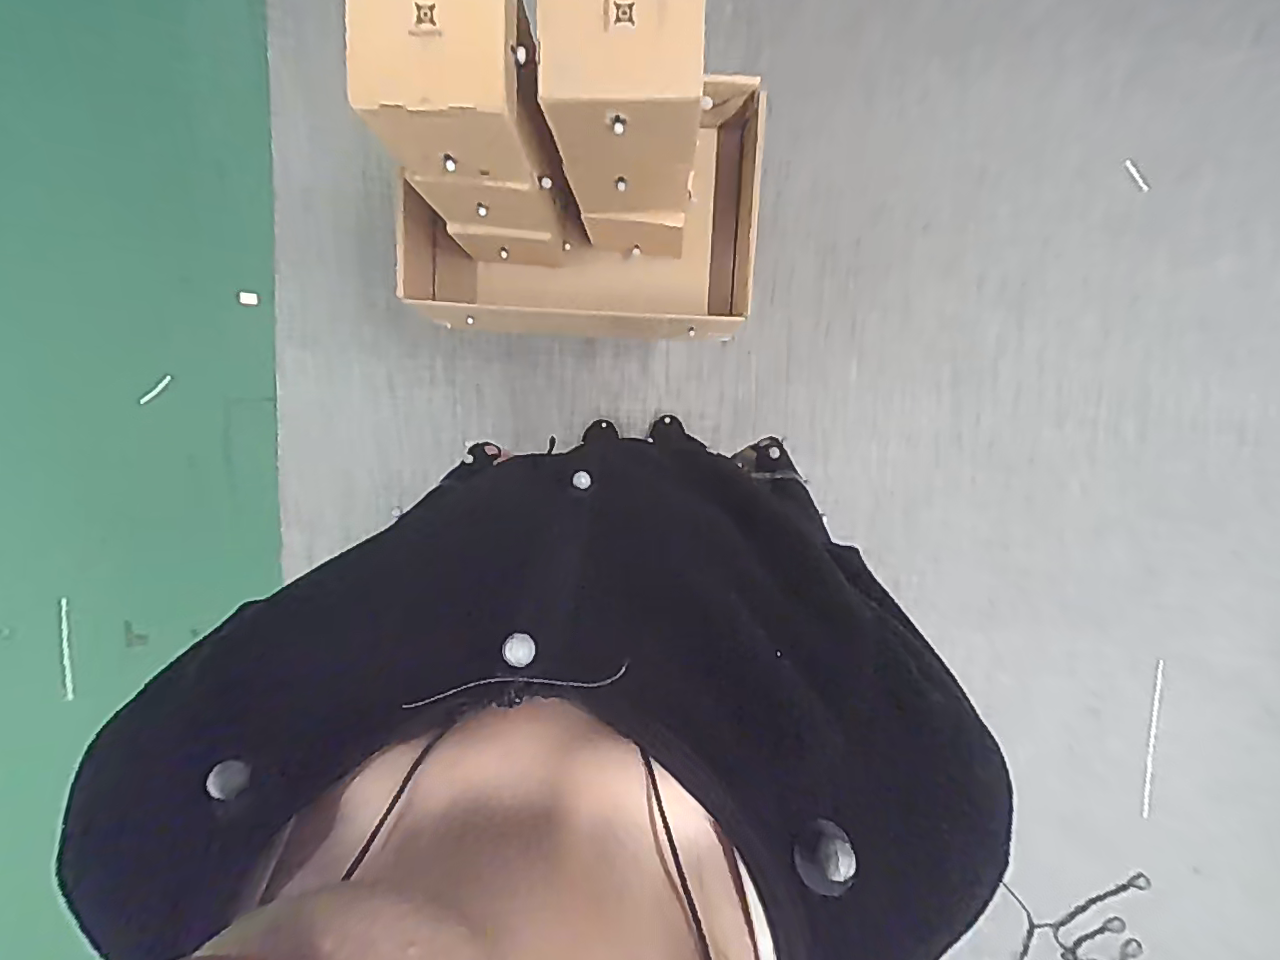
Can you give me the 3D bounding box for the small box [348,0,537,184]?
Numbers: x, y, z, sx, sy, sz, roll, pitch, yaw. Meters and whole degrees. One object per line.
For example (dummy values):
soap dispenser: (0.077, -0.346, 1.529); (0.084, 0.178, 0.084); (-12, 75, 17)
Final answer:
small box: (-0.220, -0.482, 0.639); (0.168, 0.176, 0.179); (1, 95, 0)
